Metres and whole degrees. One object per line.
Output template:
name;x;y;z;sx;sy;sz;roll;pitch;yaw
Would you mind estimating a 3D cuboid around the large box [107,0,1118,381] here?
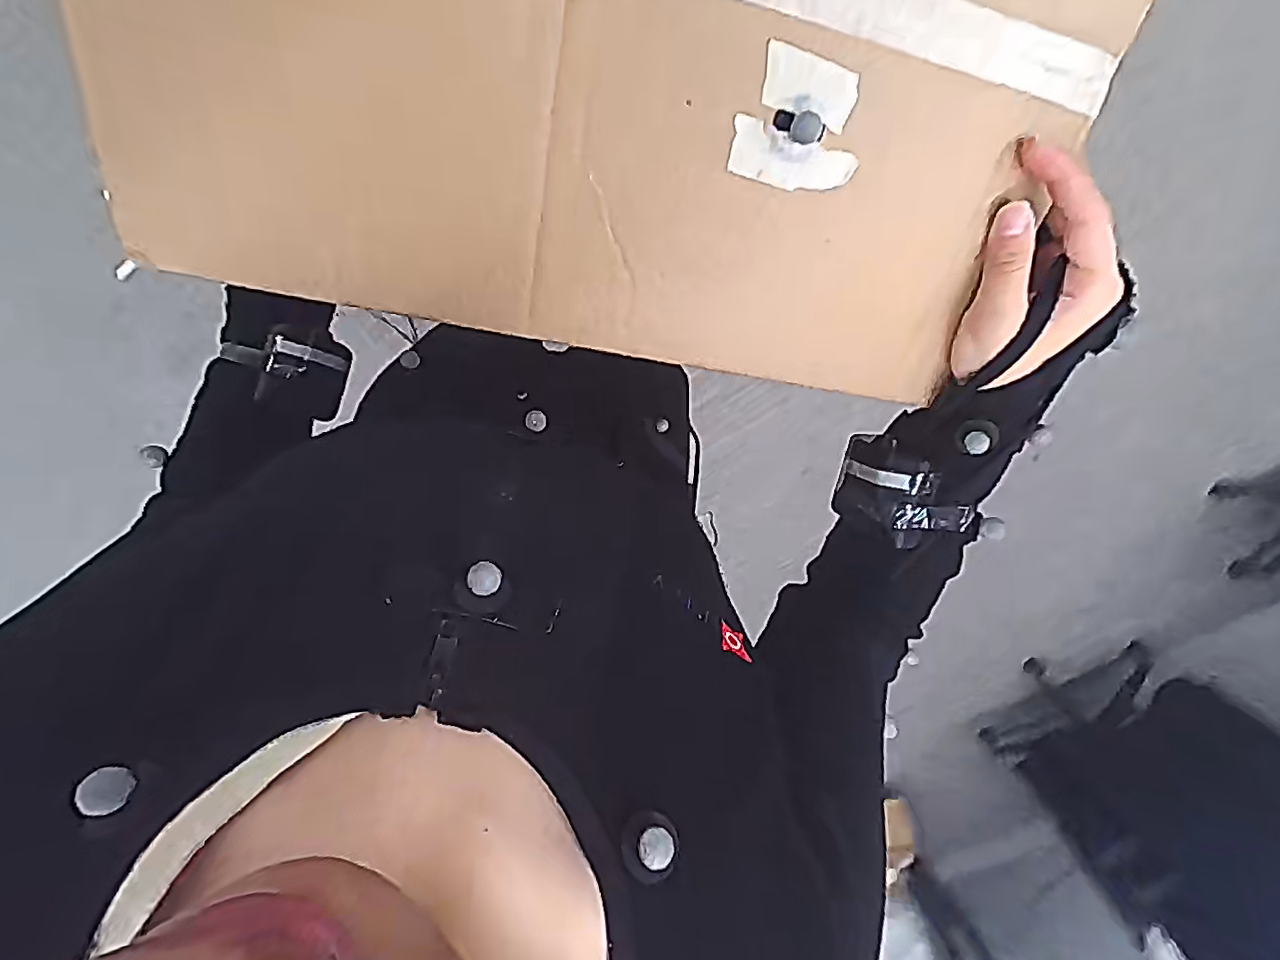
large box;-0.013;-0.279;0.338;0.408;0.320;0.320;5;120;-13
